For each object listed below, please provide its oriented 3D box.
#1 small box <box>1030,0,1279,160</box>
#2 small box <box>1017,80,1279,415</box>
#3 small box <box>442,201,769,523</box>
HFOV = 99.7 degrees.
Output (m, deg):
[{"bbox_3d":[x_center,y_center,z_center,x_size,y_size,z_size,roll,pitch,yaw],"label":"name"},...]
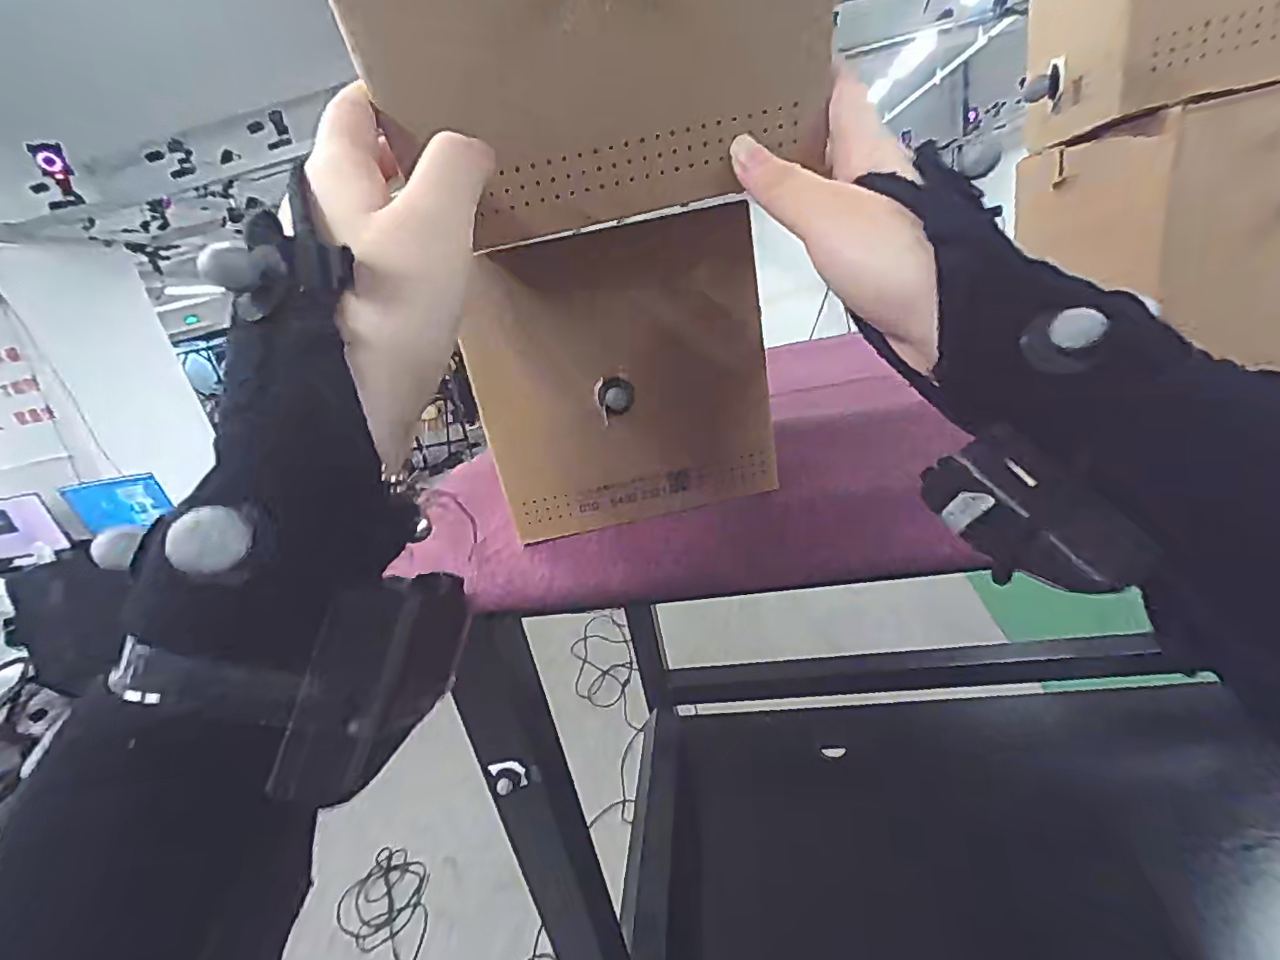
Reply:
[{"bbox_3d":[0.340,-0.295,0.294,0.179,0.176,0.168,-5,20,21],"label":"small box"},{"bbox_3d":[0.376,-0.146,0.348,0.179,0.176,0.168,-7,21,11],"label":"small box"},{"bbox_3d":[-0.016,-0.079,0.383,0.168,0.176,0.179,-11,20,-1],"label":"small box"}]
